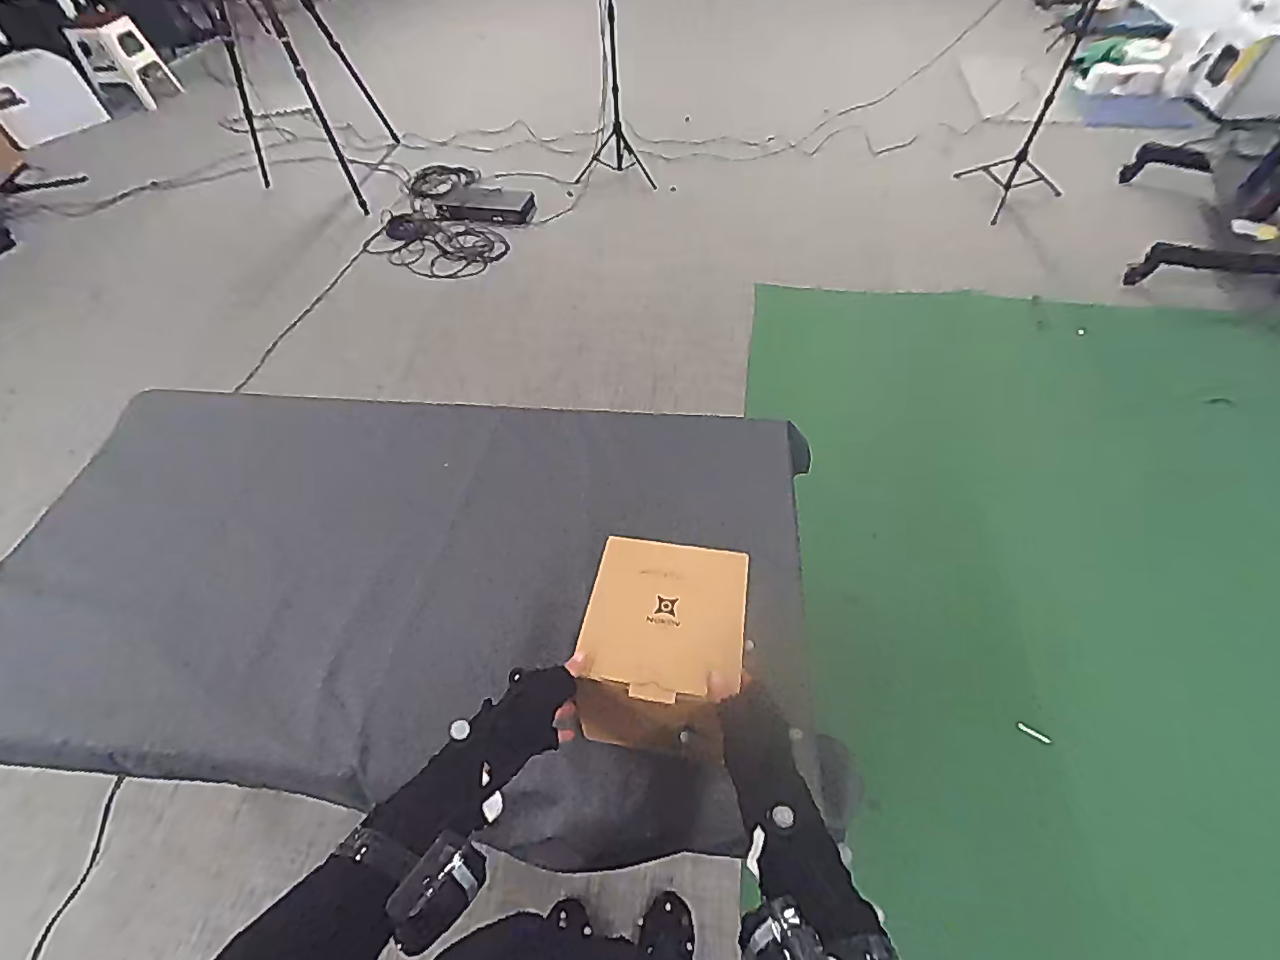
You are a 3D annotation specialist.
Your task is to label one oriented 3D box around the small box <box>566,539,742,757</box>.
[{"bbox_3d":[0.024,0.195,0.624,0.168,0.176,0.179,6,44,7],"label":"small box"}]
